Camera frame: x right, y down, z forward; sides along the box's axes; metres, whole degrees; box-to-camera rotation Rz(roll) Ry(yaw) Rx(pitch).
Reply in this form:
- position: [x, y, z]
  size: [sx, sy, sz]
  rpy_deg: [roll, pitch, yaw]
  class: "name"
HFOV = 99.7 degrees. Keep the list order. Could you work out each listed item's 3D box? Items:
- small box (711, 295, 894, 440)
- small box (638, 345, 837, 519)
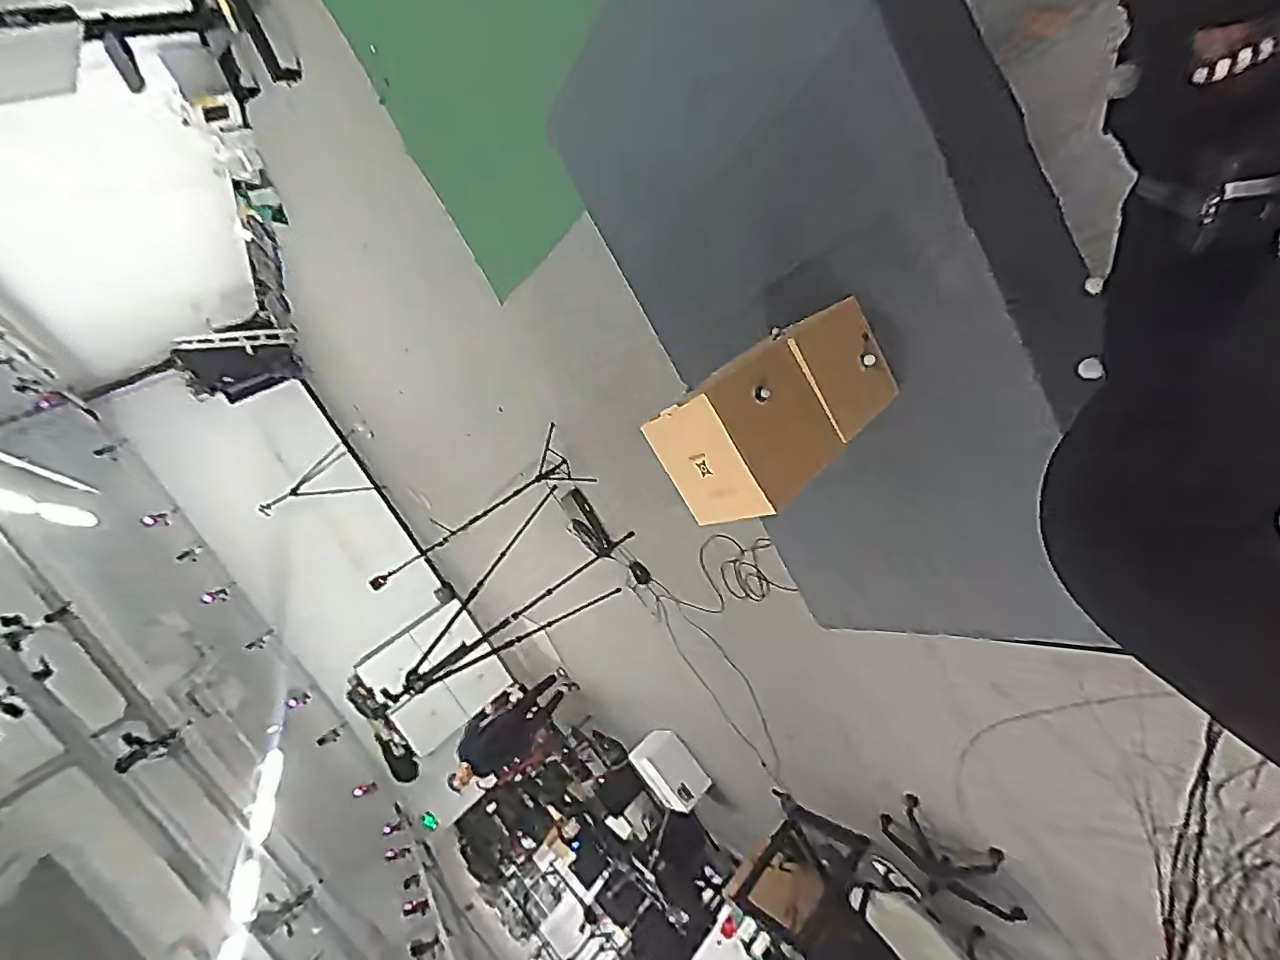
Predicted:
- position: [0.249, -0.155, 0.832]
  size: [0.179, 0.176, 0.168]
  rpy_deg: [-14, 109, 57]
  class: "small box"
- position: [0.135, -0.069, 0.753]
  size: [0.179, 0.176, 0.168]
  rpy_deg: [59, 150, -8]
  class: "small box"
